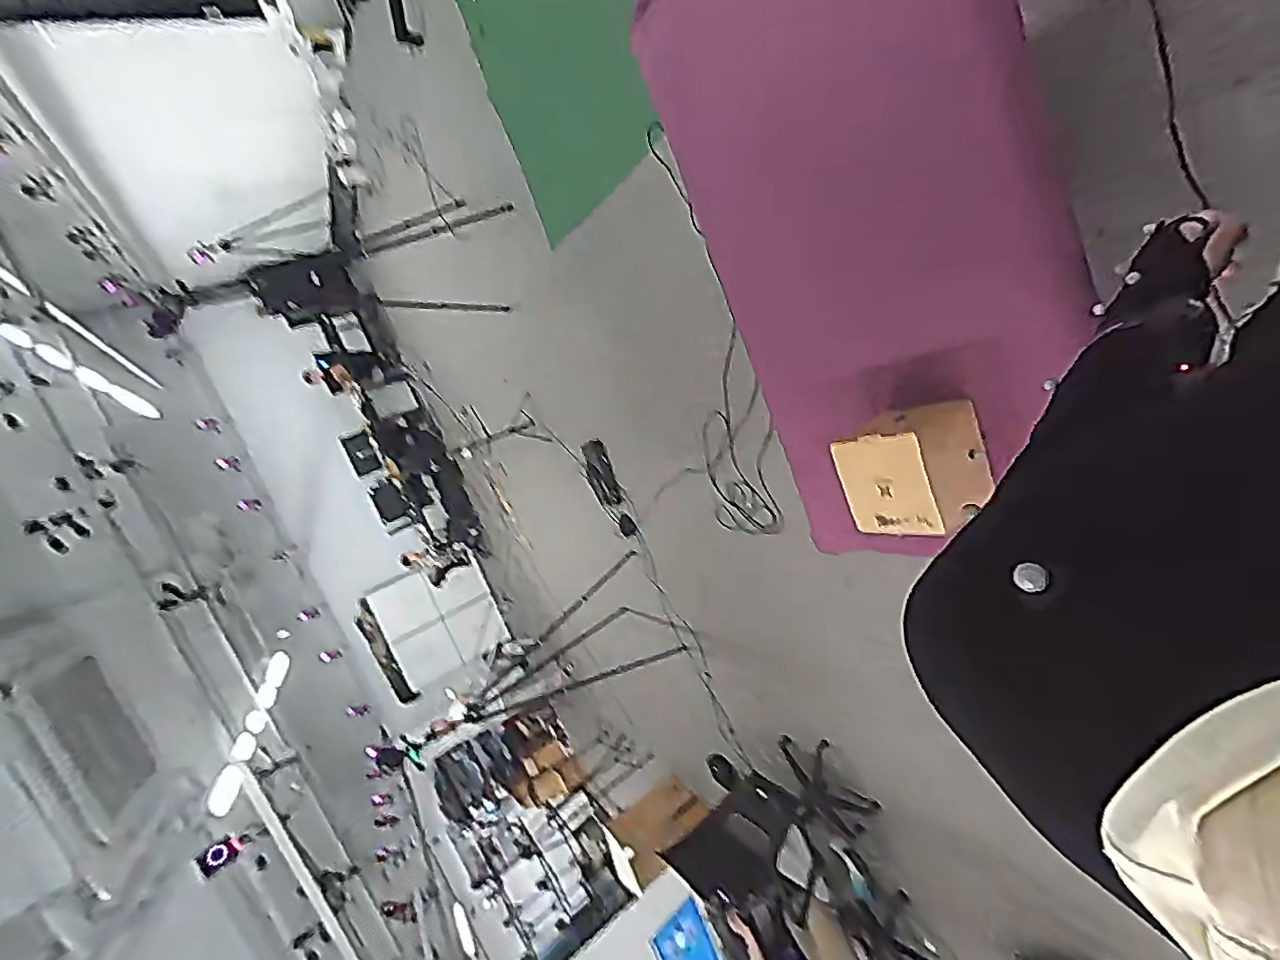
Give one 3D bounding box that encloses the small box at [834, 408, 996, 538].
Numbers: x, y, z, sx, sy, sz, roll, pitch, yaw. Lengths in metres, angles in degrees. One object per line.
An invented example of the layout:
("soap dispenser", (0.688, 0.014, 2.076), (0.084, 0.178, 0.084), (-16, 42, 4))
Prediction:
("small box", (0.475, -0.015, 0.935), (0.168, 0.176, 0.179), (-6, 108, 60))
